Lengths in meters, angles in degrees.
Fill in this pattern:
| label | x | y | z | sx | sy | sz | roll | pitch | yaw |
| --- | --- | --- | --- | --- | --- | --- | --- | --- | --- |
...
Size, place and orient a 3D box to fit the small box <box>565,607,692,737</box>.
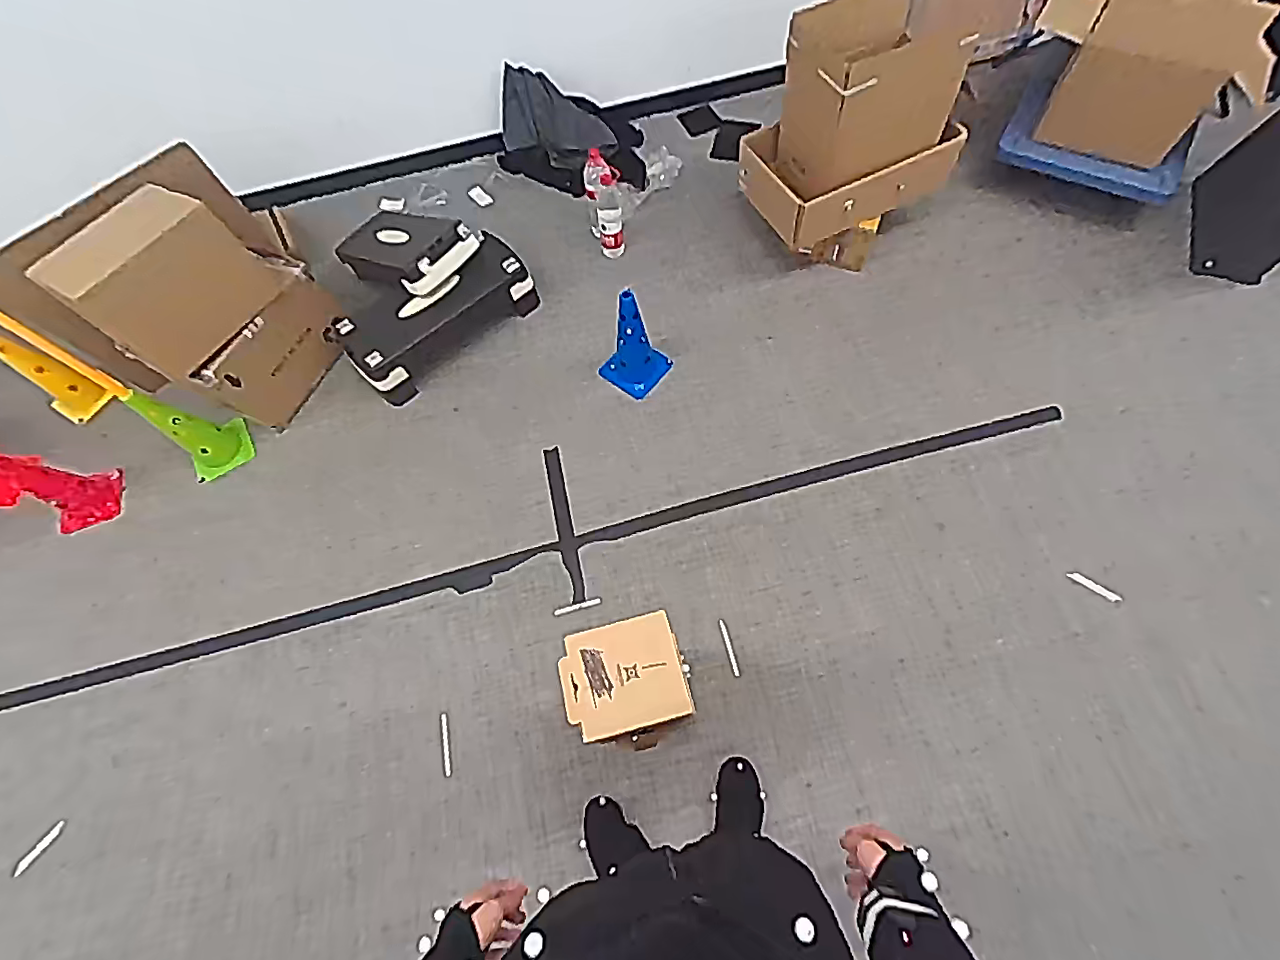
| label | x | y | z | sx | sy | sz | roll | pitch | yaw |
| --- | --- | --- | --- | --- | --- | --- | --- | --- | --- |
| small box | -0.016 | 0.334 | 0.926 | 0.179 | 0.176 | 0.168 | -14 | 65 | -3 |
